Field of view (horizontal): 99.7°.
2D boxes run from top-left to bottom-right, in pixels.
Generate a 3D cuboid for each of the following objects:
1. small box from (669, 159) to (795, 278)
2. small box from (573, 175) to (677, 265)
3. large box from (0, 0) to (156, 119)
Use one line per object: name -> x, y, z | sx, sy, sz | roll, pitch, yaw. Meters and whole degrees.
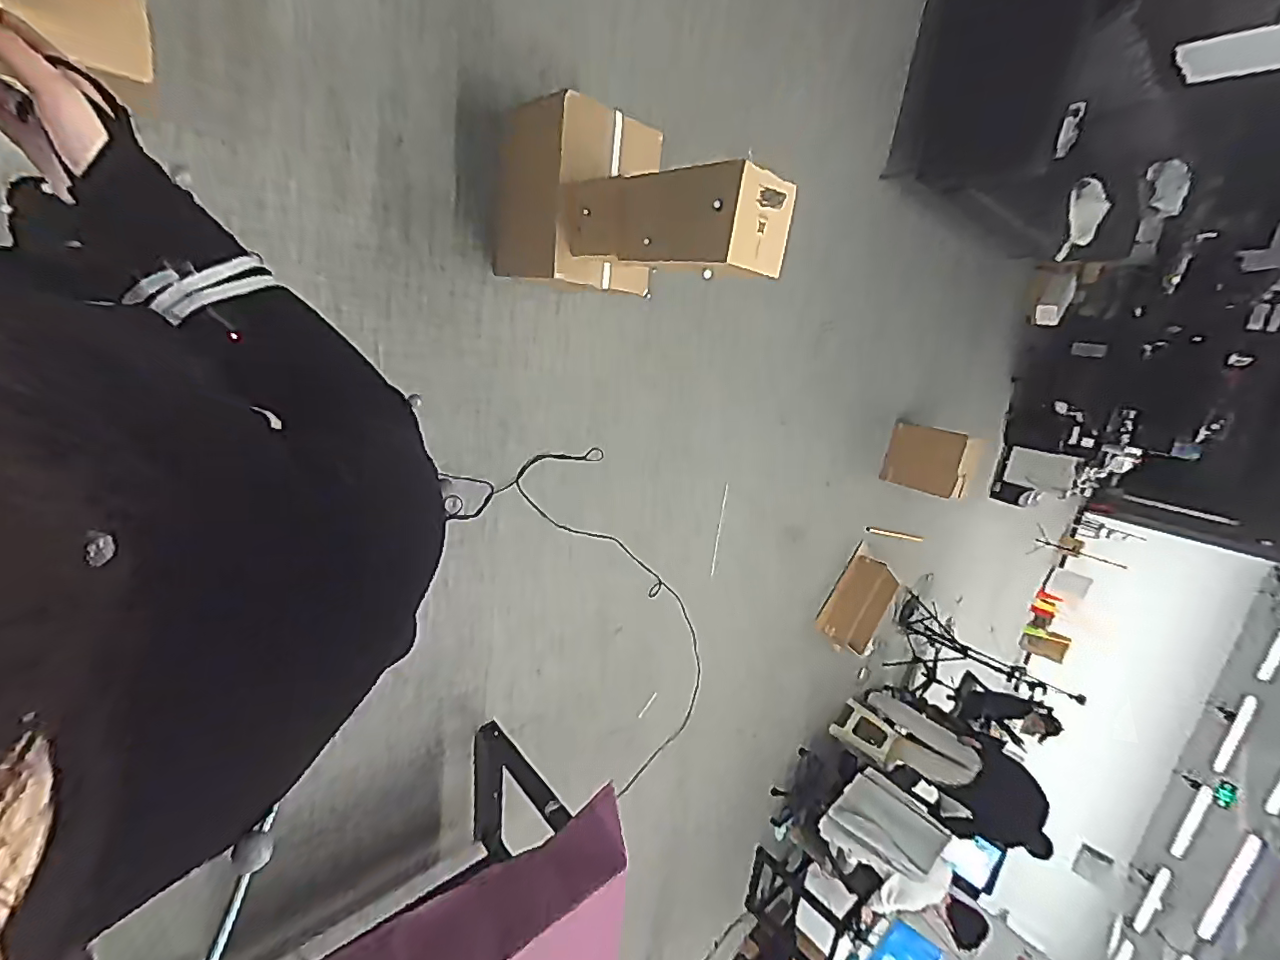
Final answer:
small box -> 0.179, -0.514, 1.083 | 0.168, 0.176, 0.179 | -5, 112, -41
small box -> -0.039, -0.621, 1.306 | 0.179, 0.176, 0.168 | -9, 113, -40
large box -> -0.911, -0.802, 0.753 | 0.320, 0.320, 0.408 | -8, 111, -41
